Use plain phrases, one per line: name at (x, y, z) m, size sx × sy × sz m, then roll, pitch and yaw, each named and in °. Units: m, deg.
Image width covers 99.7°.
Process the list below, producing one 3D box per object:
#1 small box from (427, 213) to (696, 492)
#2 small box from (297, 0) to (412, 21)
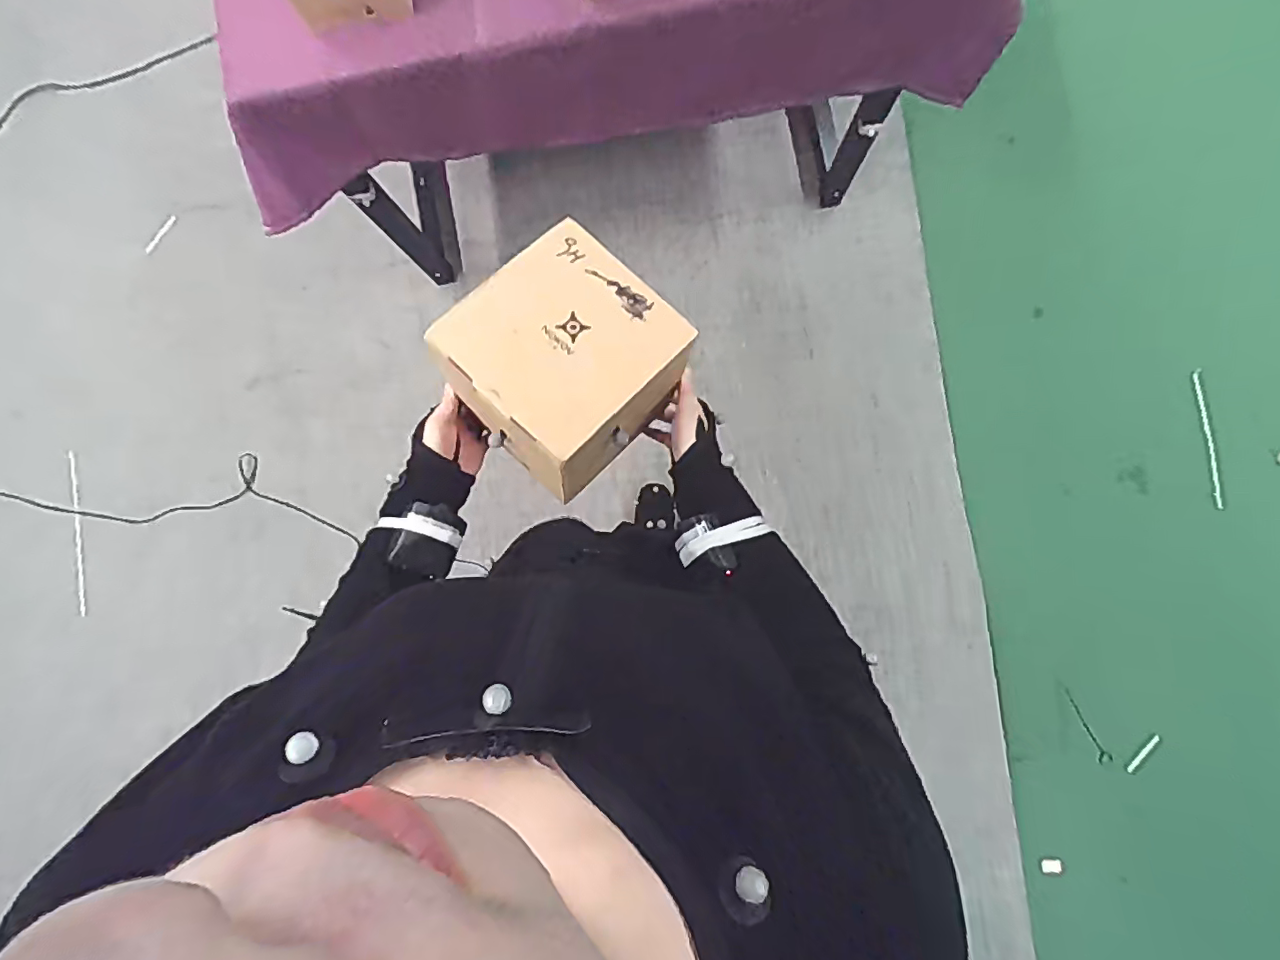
small box at (-0.071, -0.111, 0.540) m, size 0.168 × 0.176 × 0.179 m, roll 43°, pitch 76°, yaw 6°
small box at (-0.439, -0.796, 0.761) m, size 0.168 × 0.176 × 0.179 m, roll -7°, pitch 86°, yaw 2°
